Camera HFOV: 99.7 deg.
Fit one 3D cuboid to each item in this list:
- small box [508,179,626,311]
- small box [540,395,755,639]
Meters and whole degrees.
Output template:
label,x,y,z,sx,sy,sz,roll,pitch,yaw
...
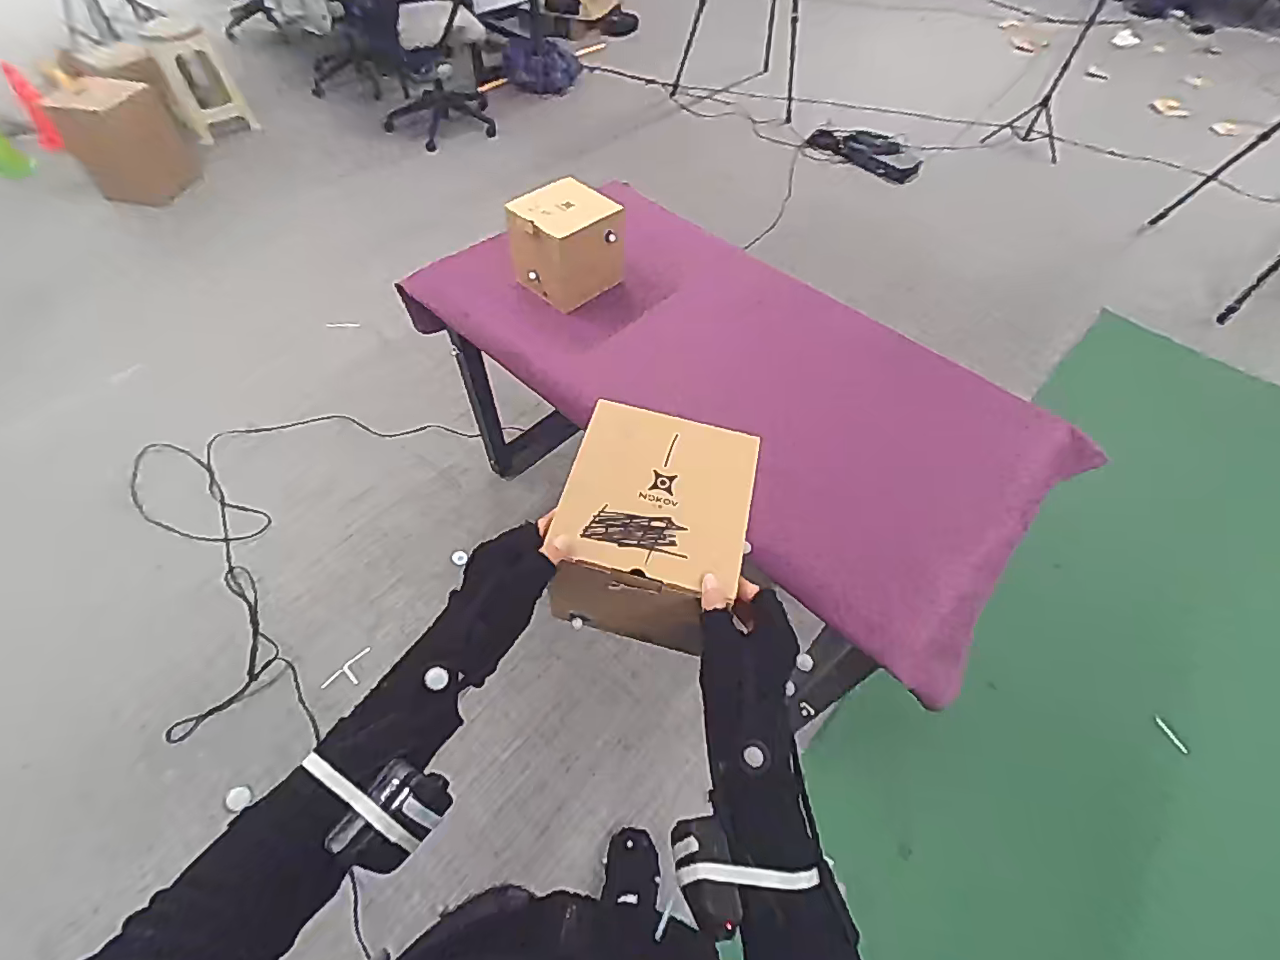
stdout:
label,x,y,z,sx,sy,sz,roll,pitch,yaw
small box,-0.148,-0.489,1.130,0.168,0.176,0.179,39,62,23
small box,0.010,0.045,0.558,0.168,0.176,0.179,13,57,4
